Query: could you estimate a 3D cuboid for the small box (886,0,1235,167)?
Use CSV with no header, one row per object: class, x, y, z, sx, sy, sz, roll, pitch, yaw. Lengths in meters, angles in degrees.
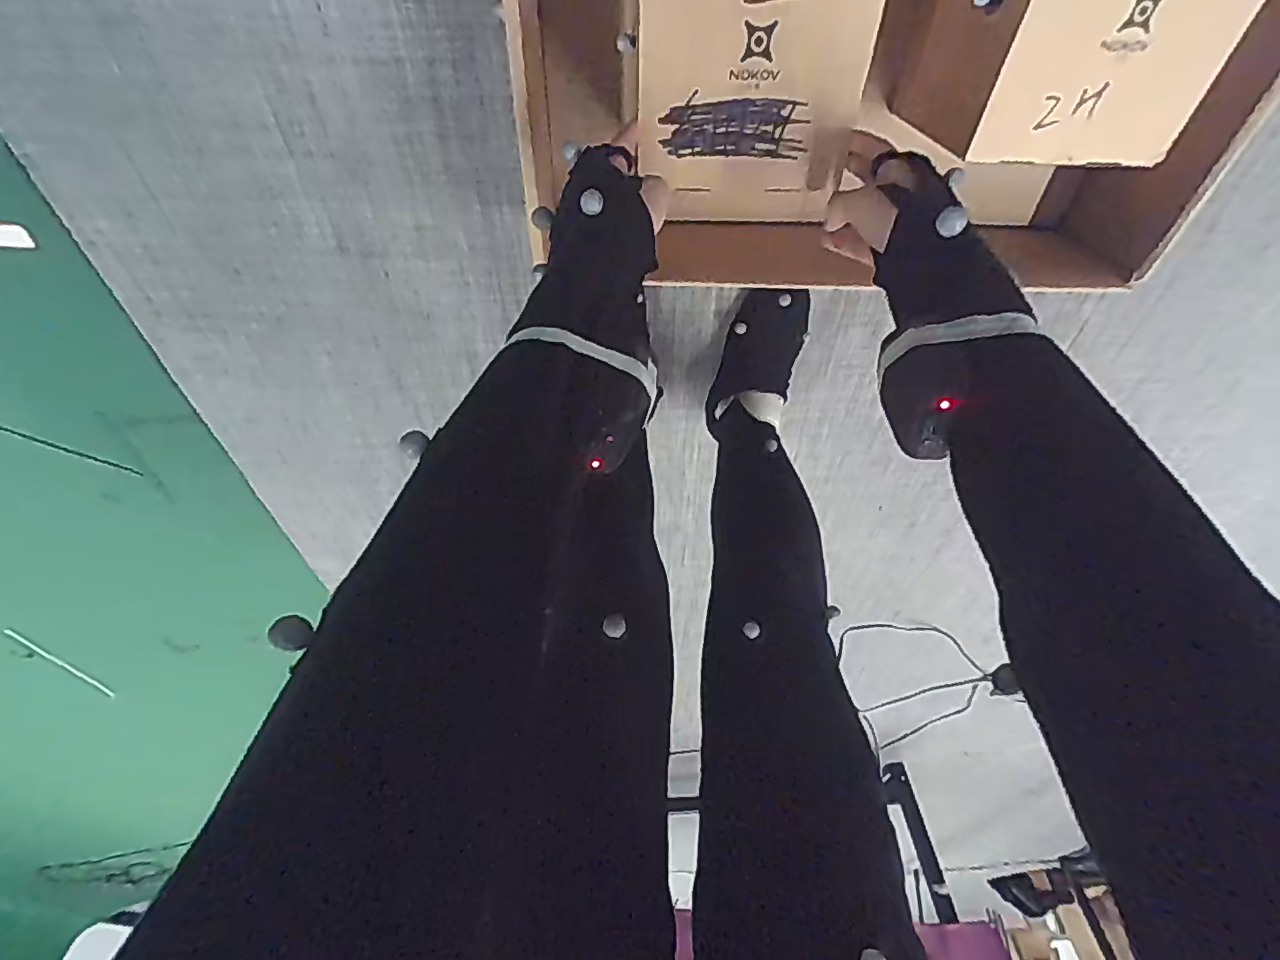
small box,0.329,-0.379,0.442,0.168,0.176,0.179,0,136,-2
